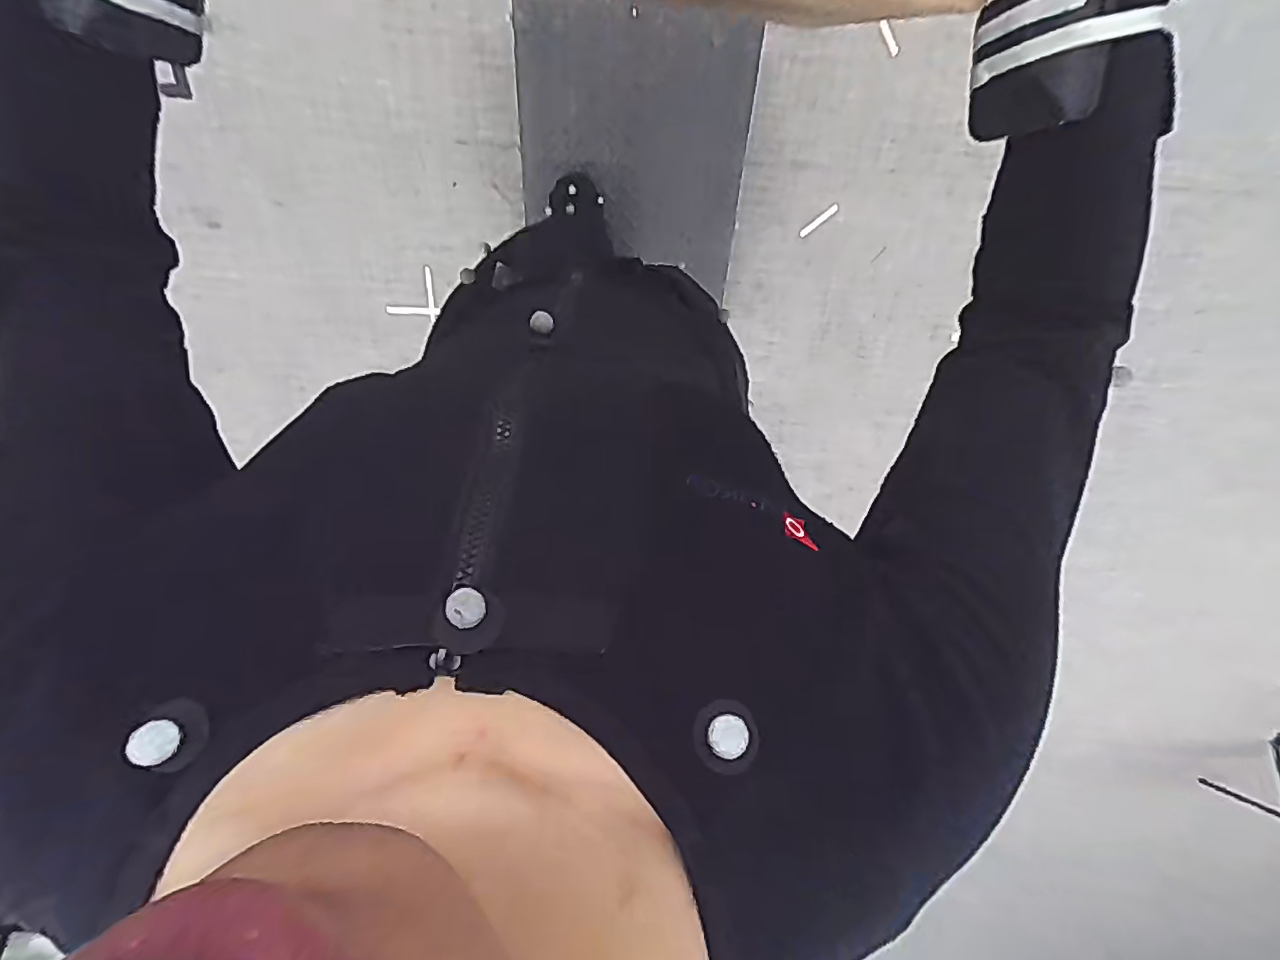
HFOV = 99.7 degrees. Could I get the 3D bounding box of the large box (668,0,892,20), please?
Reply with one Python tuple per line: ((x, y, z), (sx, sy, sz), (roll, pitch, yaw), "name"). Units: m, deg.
((-0.008, -0.485, 0.297), (0.408, 0.320, 0.320), (5, 129, -5), "large box")
